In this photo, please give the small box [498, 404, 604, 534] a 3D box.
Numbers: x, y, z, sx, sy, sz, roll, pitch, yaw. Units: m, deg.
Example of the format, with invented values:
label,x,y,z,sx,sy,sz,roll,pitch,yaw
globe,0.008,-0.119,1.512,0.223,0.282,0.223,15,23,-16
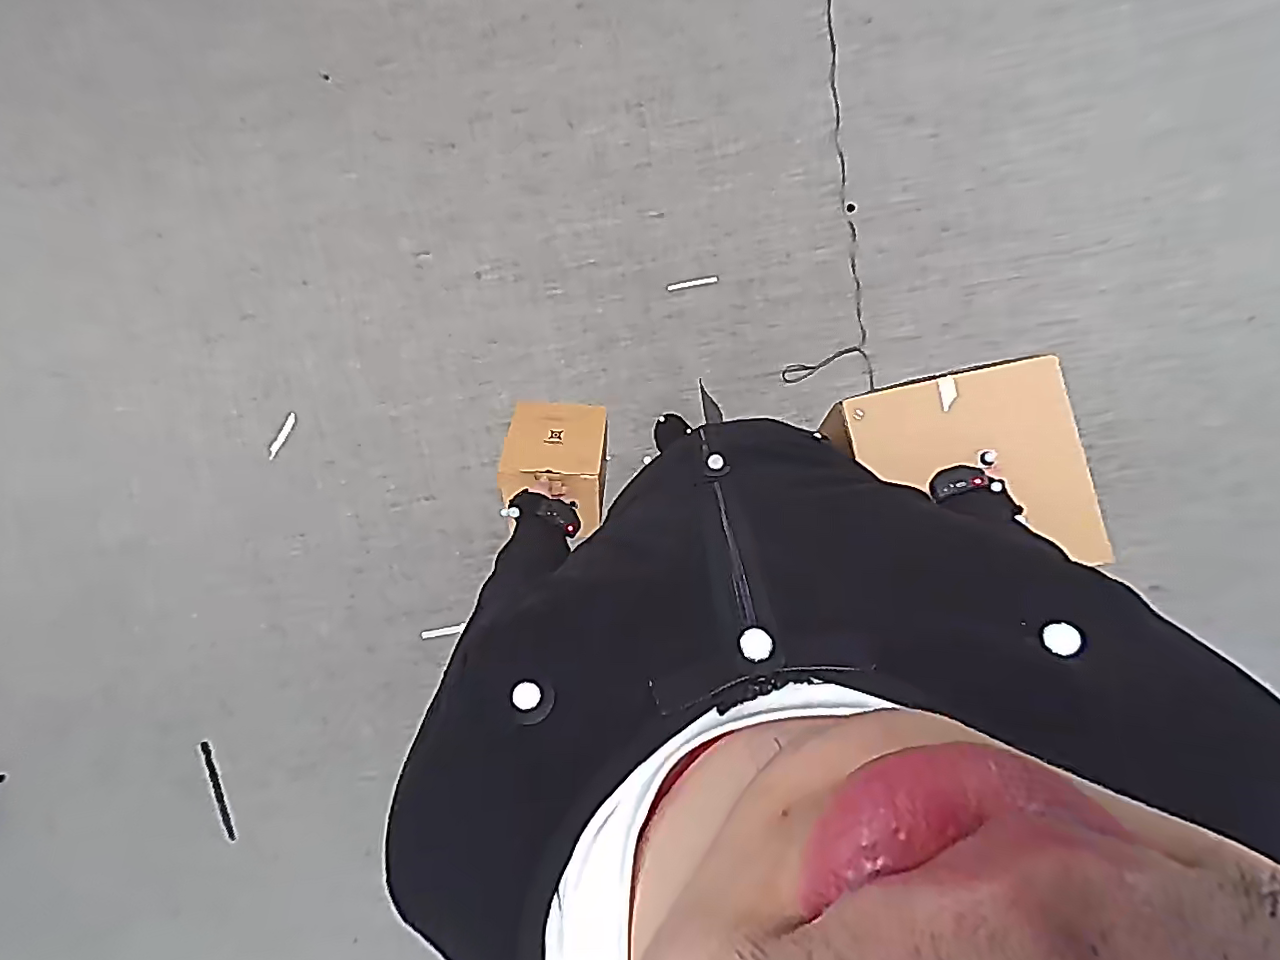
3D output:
label,x,y,z,sx,sy,sz,roll,pitch,yaw
small box,-0.154,-0.018,0.994,0.168,0.179,0.176,4,136,-2
